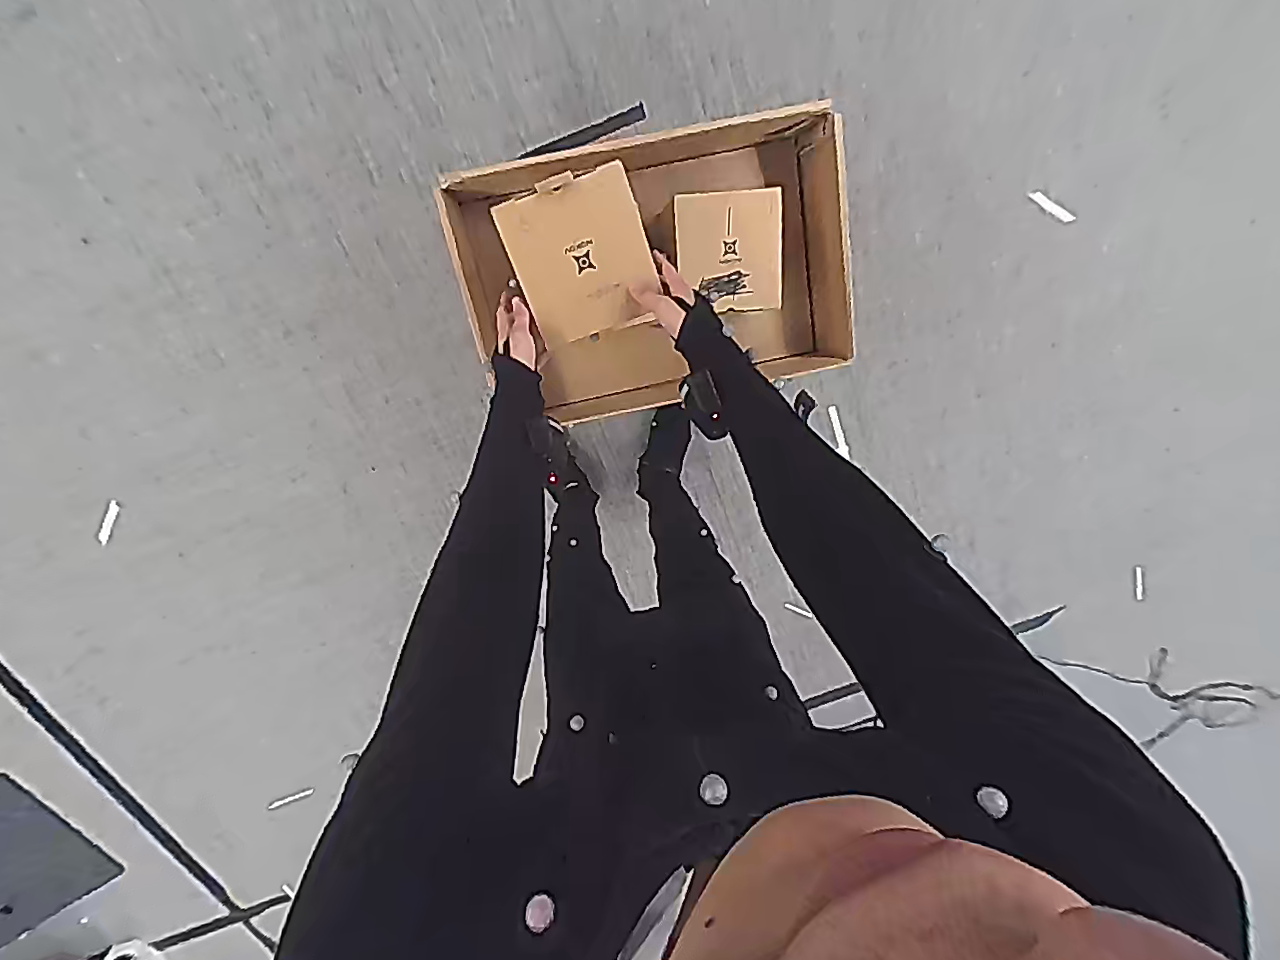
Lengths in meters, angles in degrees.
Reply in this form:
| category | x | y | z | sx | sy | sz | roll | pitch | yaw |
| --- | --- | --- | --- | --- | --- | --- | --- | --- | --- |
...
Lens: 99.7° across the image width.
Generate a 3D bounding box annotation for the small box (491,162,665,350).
| category | x | y | z | sx | sy | sz | roll | pitch | yaw |
| --- | --- | --- | --- | --- | --- | --- | --- | --- | --- |
| small box | -0.082 | -0.289 | 0.728 | 0.168 | 0.176 | 0.179 | -21 | 109 | 0 |
